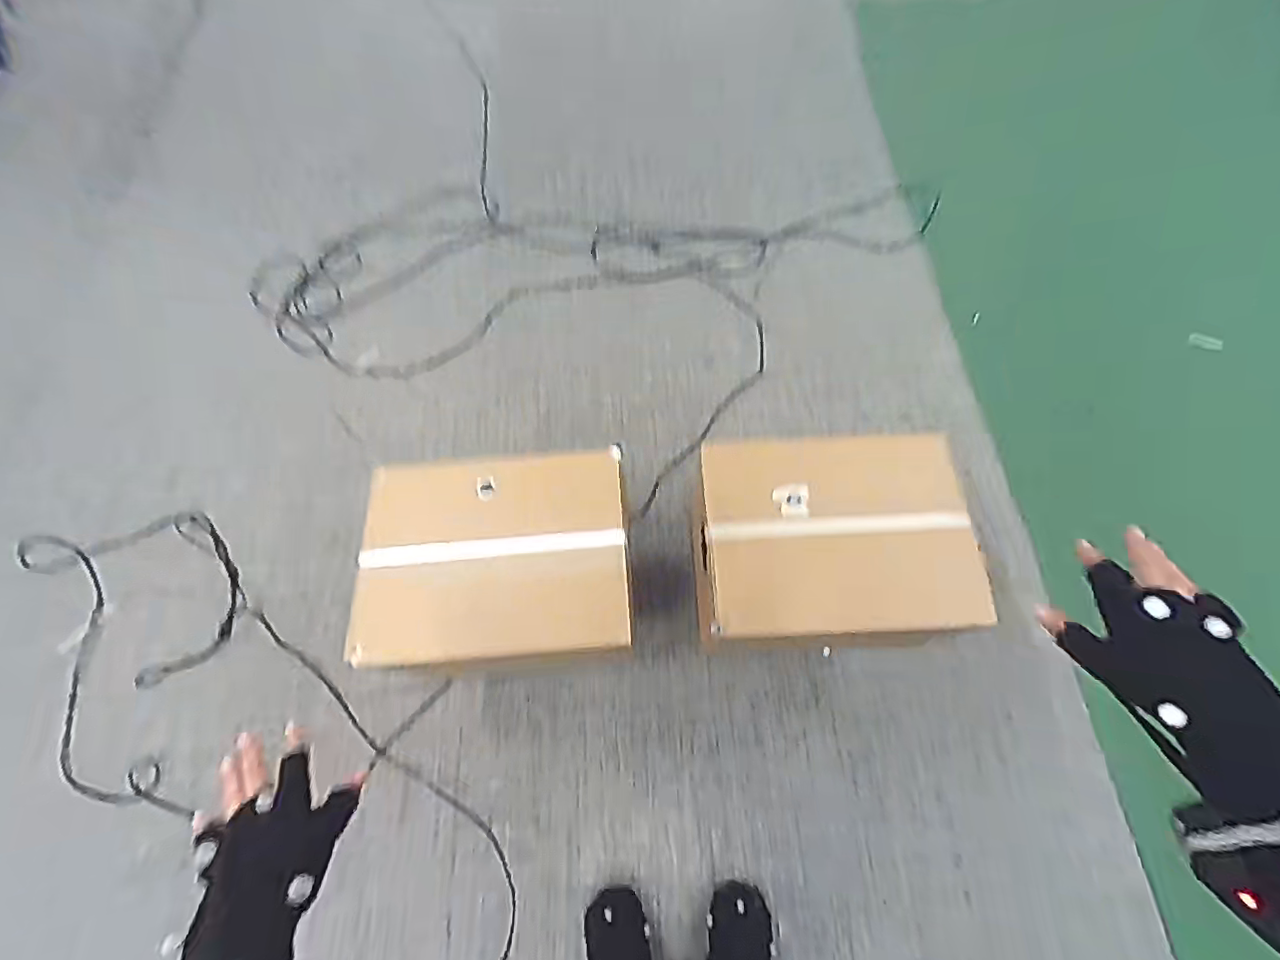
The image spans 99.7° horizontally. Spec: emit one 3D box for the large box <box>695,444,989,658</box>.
[{"bbox_3d":[0.320,0.148,0.993,0.408,0.320,0.320,-3,66,1],"label":"large box"}]
